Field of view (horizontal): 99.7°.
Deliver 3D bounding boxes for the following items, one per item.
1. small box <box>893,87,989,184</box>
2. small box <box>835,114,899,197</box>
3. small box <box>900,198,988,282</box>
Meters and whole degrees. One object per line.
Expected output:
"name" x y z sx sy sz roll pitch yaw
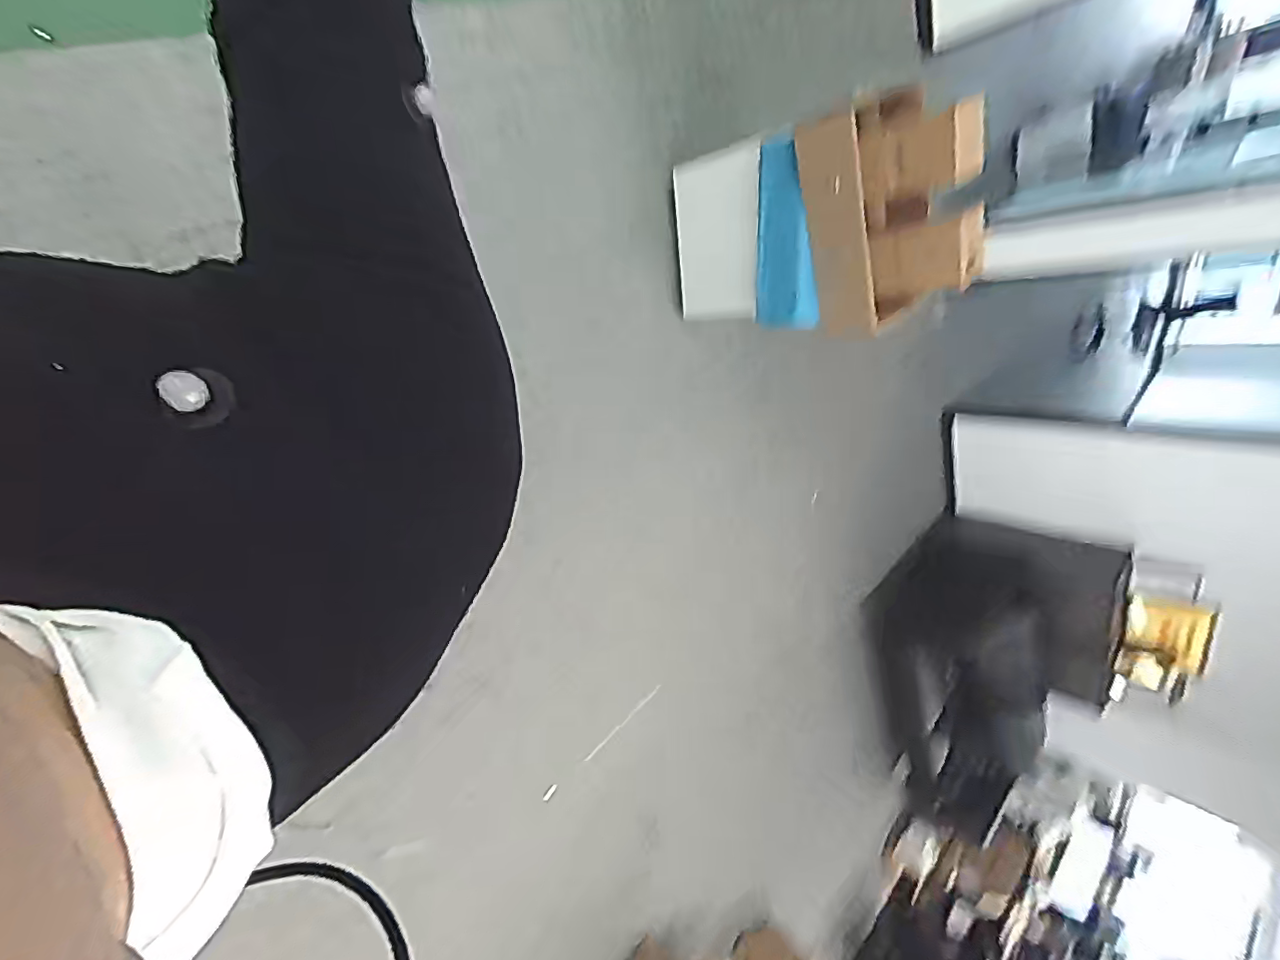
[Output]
"small box" 0.788 -0.900 1.418 0.179 0.176 0.168 -36 122 -29
"small box" 0.678 -0.926 1.536 0.179 0.176 0.168 -36 122 -30
"small box" 0.863 -0.674 1.535 0.168 0.176 0.179 -36 121 -29
